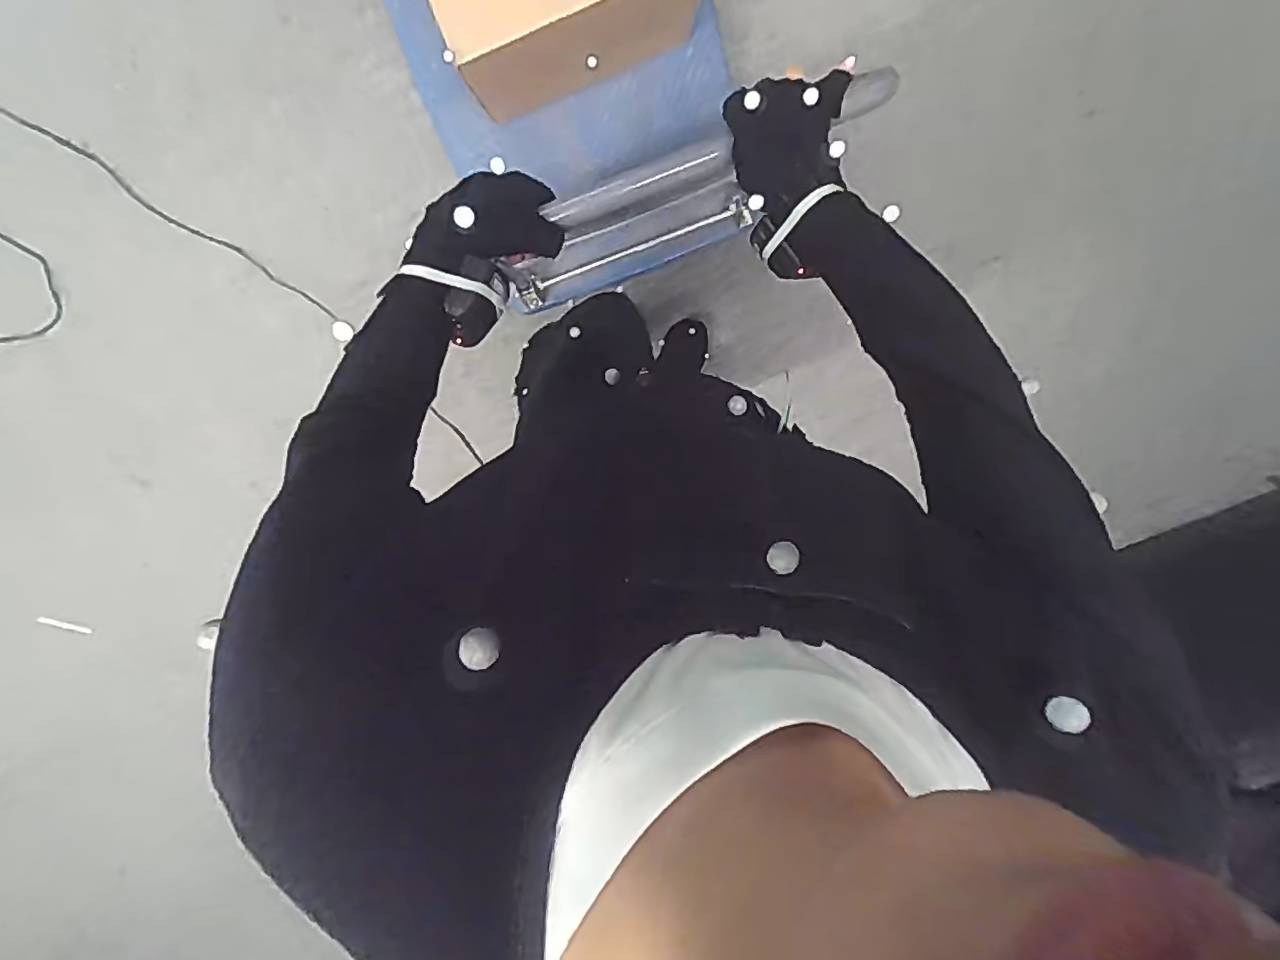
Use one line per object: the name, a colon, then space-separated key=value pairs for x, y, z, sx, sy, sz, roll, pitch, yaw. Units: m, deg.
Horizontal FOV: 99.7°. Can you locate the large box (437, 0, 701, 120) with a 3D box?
large box: x=-0.133 y=-0.860 z=0.867 sx=0.408 sy=0.320 sz=0.320 roll=-21 pitch=109 yaw=5
